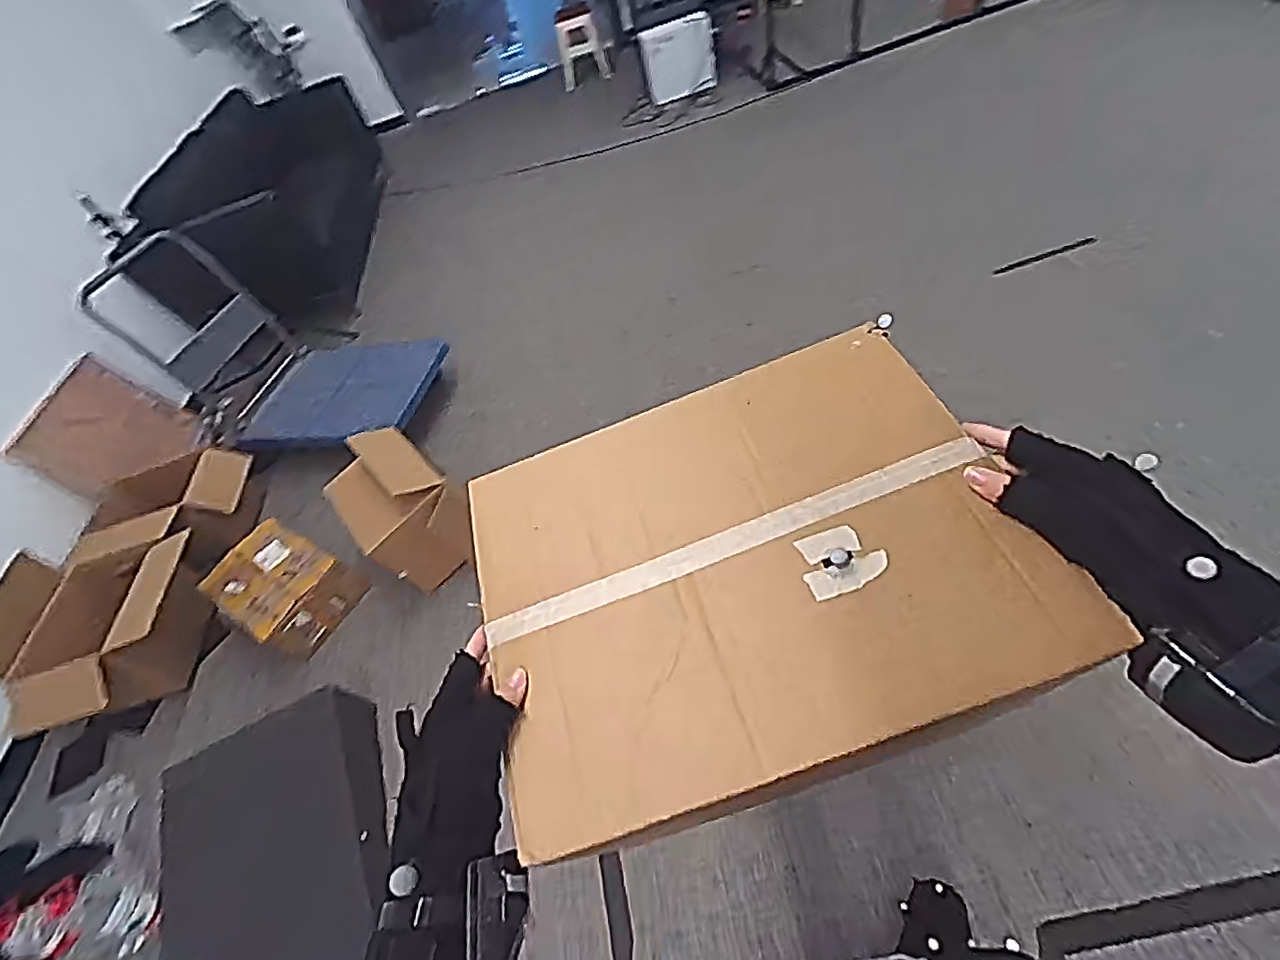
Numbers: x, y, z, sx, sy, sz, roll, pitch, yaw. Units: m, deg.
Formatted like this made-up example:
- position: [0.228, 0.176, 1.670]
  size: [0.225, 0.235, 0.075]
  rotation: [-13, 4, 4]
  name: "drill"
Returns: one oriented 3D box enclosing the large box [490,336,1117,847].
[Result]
- position: [0.113, 0.129, 0.554]
  size: [0.408, 0.320, 0.320]
  rotation: [-21, 56, 2]
  name: "large box"
